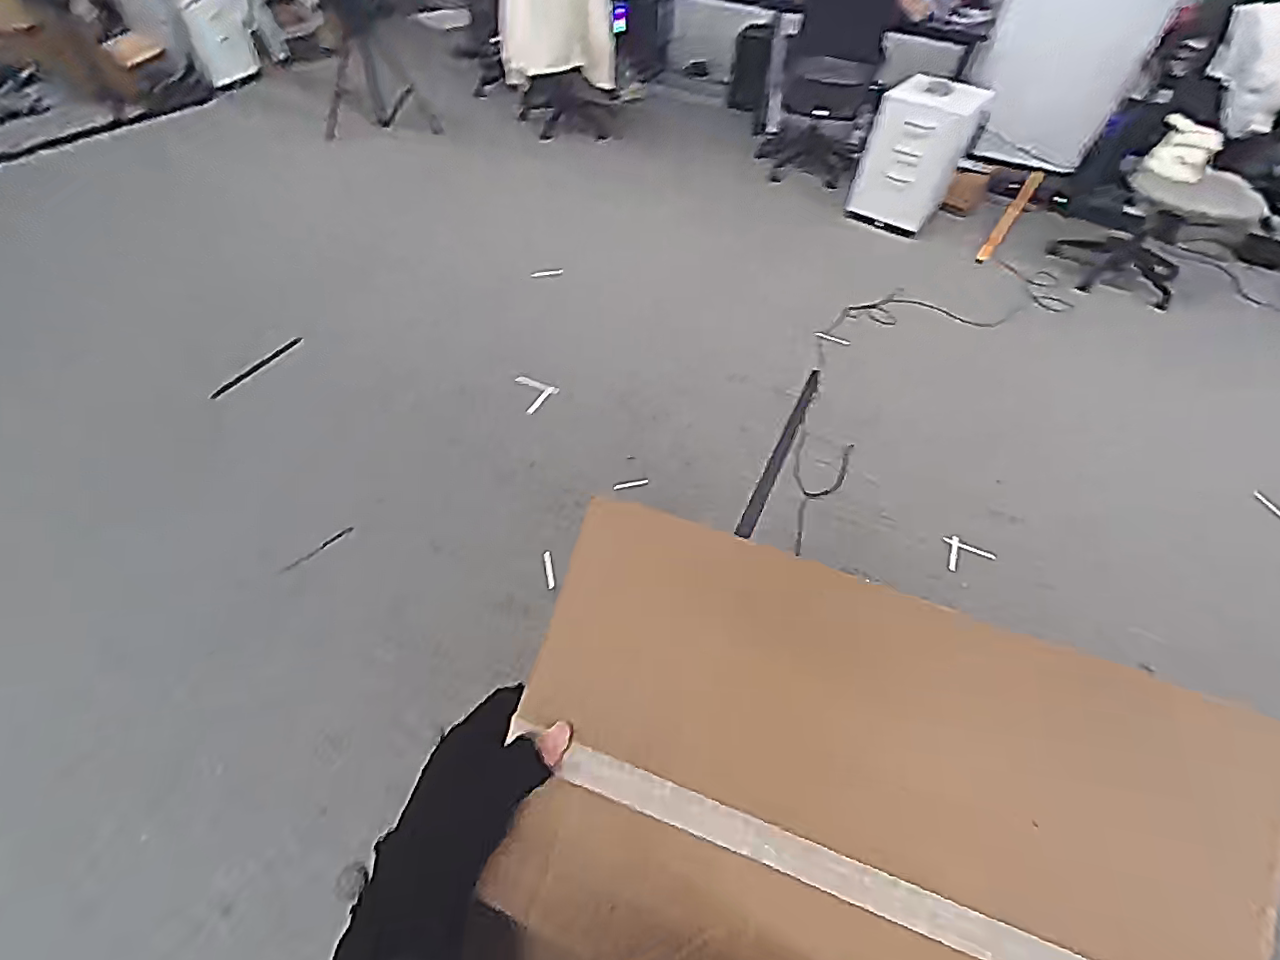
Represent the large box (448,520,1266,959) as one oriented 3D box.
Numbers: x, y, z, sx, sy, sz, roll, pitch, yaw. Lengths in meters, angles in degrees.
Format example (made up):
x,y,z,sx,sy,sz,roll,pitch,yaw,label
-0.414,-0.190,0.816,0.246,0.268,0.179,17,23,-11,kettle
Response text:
x,y,z,sx,sy,sz,roll,pitch,yaw,label
0.132,0.244,0.460,0.408,0.320,0.320,18,84,10,large box
